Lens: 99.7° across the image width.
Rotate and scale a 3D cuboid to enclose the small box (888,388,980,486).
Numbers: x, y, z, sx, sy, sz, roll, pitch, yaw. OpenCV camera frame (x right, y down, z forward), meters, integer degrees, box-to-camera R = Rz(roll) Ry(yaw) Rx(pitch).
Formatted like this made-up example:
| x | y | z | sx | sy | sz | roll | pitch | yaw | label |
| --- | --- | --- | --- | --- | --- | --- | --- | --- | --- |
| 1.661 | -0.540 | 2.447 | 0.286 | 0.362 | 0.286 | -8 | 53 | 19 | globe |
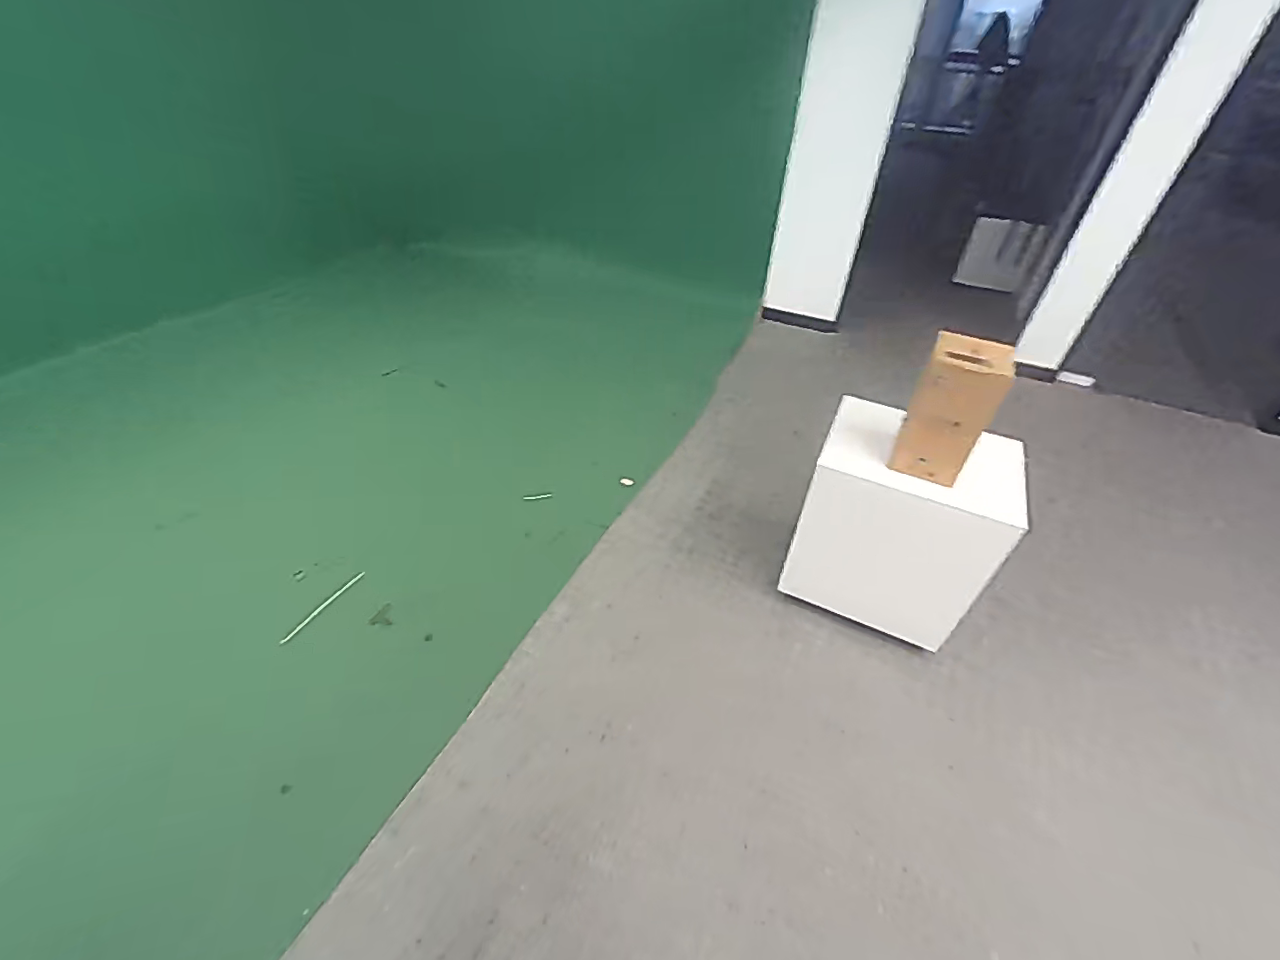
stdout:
| x | y | z | sx | sy | sz | roll | pitch | yaw | label |
| --- | --- | --- | --- | --- | --- | --- | --- | --- | --- |
| 0.774 | -0.114 | 1.430 | 0.168 | 0.176 | 0.179 | 19 | 43 | 19 | small box |
